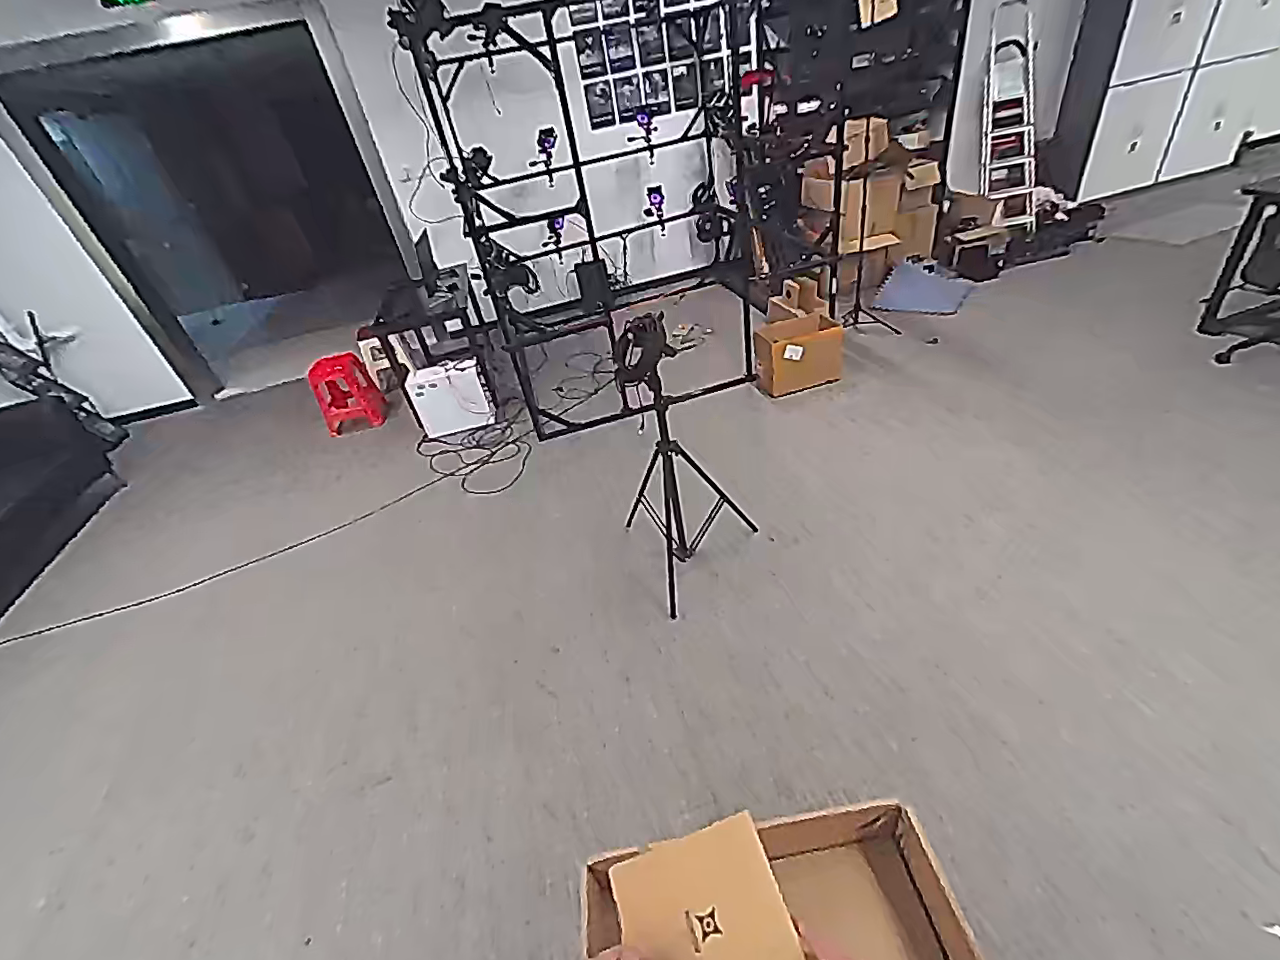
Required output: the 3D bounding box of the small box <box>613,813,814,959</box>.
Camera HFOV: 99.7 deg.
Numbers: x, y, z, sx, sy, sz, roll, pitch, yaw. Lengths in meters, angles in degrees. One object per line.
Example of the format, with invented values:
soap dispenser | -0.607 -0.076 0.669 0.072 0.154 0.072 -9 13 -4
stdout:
small box | 0.089 0.515 0.614 0.179 0.176 0.168 -22 44 -2
